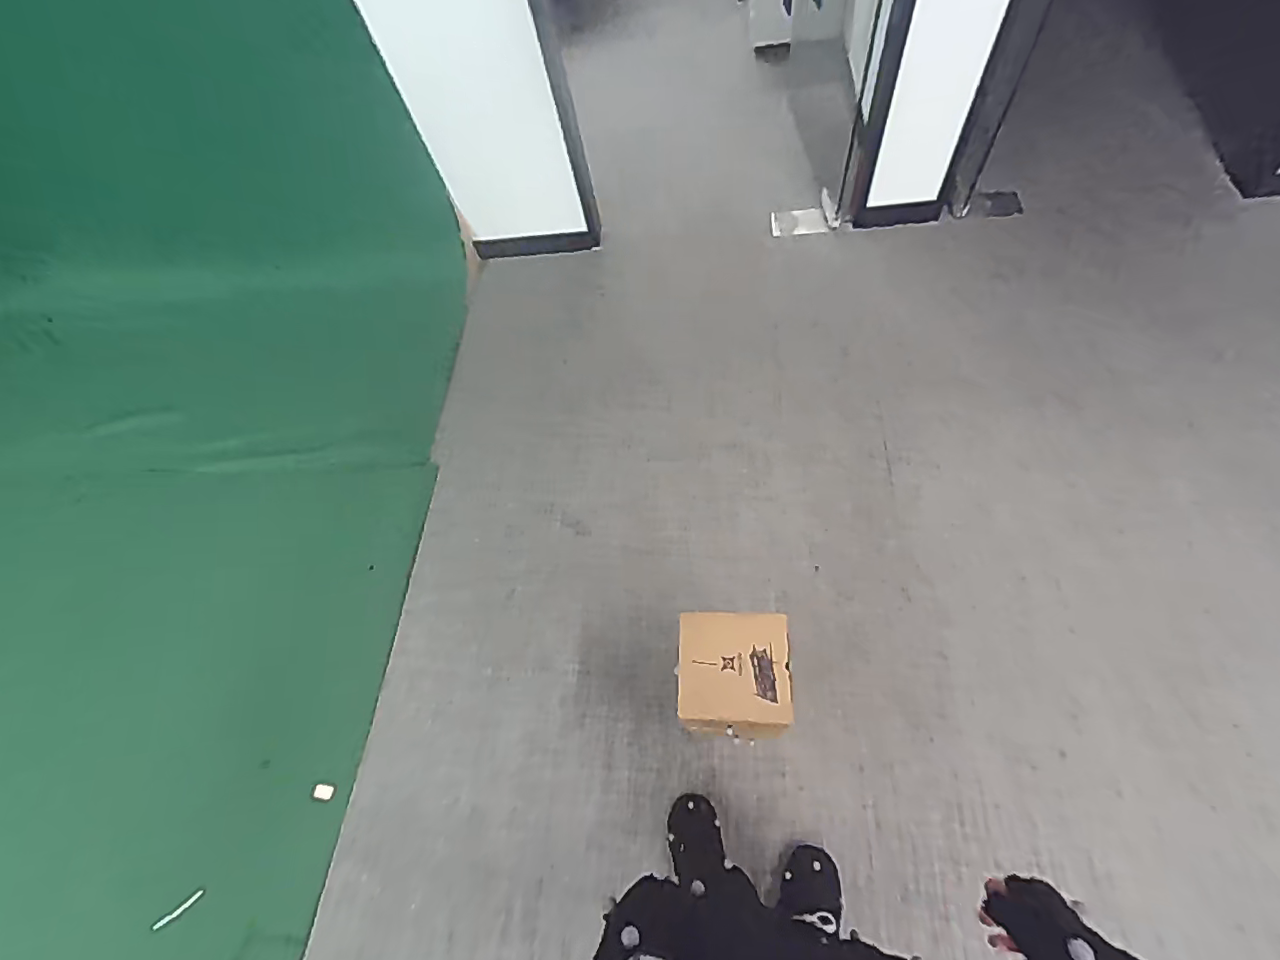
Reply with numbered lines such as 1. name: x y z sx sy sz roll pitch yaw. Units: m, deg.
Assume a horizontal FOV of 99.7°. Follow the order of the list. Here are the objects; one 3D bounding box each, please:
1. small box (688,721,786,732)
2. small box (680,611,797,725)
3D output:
1. small box: 0.186 0.400 1.067 0.179 0.176 0.168 -1 62 9
2. small box: 0.160 0.323 0.924 0.179 0.176 0.168 -3 63 7
